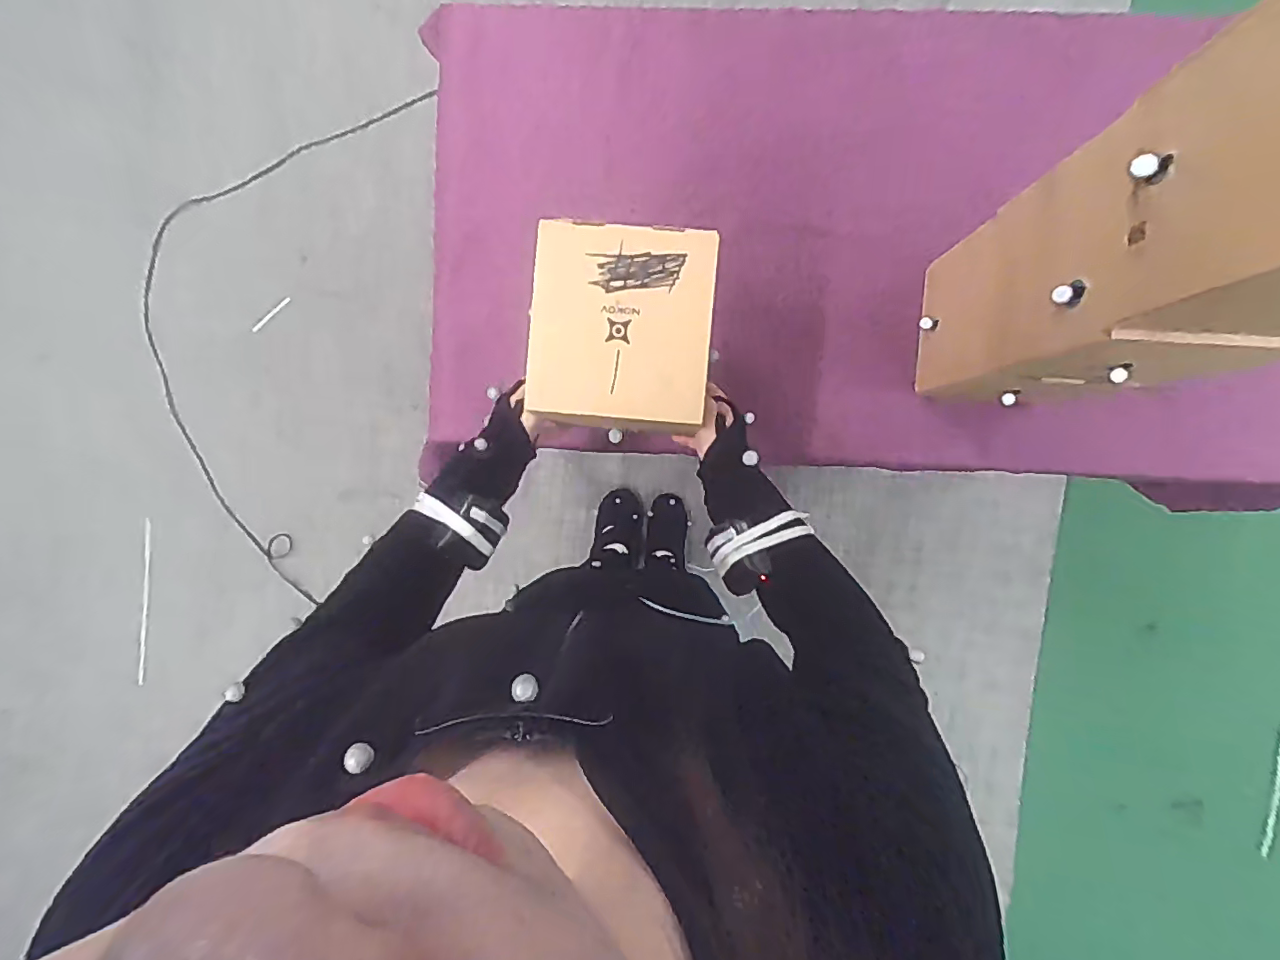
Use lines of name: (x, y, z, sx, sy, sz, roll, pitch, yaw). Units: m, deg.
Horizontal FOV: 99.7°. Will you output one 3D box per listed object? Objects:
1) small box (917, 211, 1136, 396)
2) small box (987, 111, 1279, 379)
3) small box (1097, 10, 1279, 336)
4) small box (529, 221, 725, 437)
small box: (0.459, -0.198, 0.655, 0.168, 0.176, 0.179, 5, 93, 2)
small box: (0.449, -0.191, 0.490, 0.168, 0.176, 0.179, 4, 93, 2)
small box: (0.438, -0.190, 0.327, 0.179, 0.176, 0.168, 4, 92, 3)
small box: (-0.010, -0.143, 0.567, 0.168, 0.176, 0.179, 5, 92, 2)
